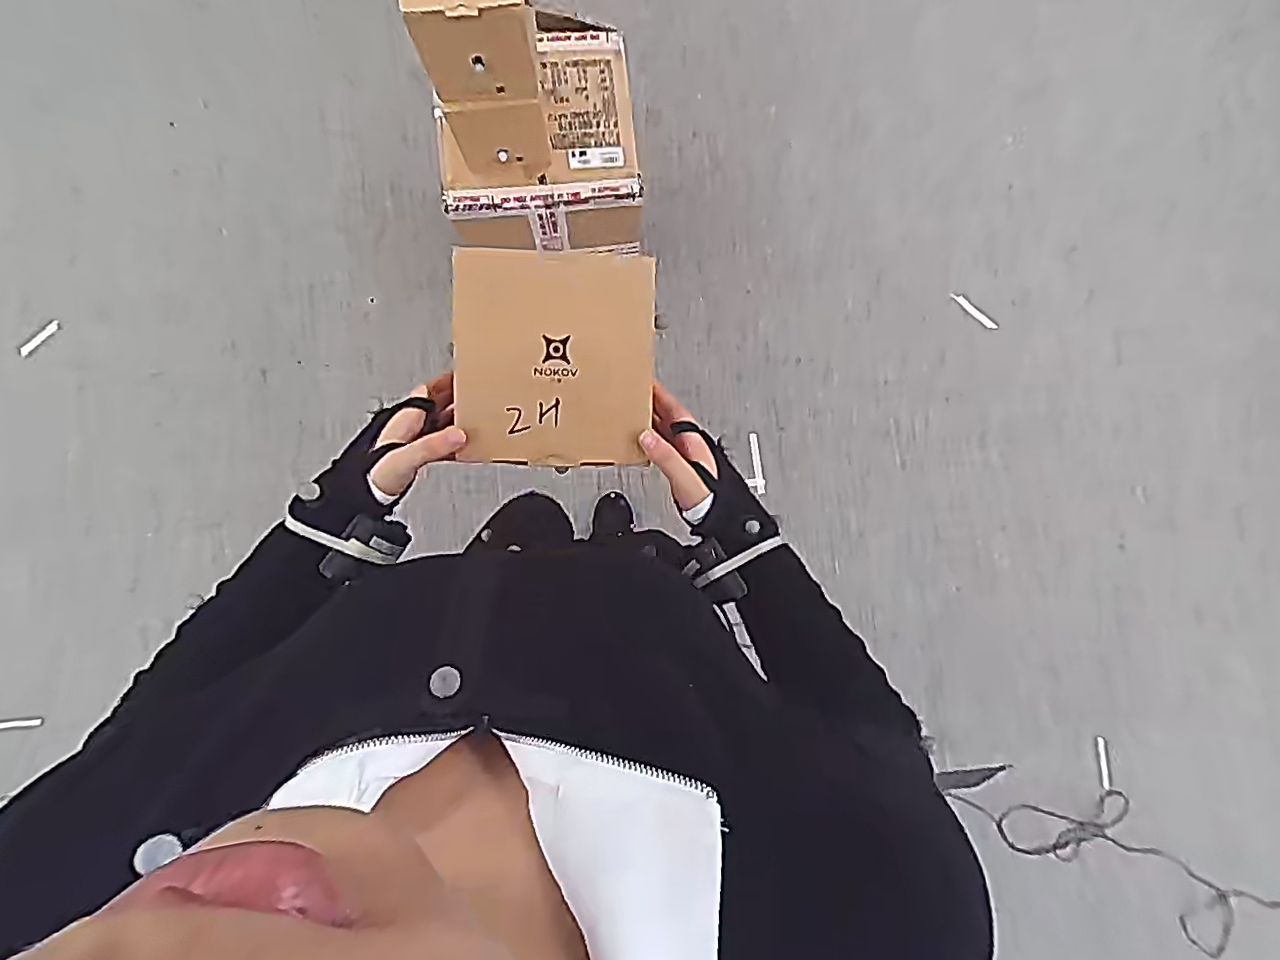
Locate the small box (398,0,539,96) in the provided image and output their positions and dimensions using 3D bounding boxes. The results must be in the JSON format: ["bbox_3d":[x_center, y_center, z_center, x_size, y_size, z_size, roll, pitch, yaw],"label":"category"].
[{"bbox_3d":[-0.247,-0.704,0.799,0.168,0.176,0.179,-5,90,-2],"label":"small box"}]

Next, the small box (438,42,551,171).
[{"bbox_3d":[-0.256,-0.688,0.963,0.168,0.176,0.179,-7,90,-2],"label":"small box"}]
